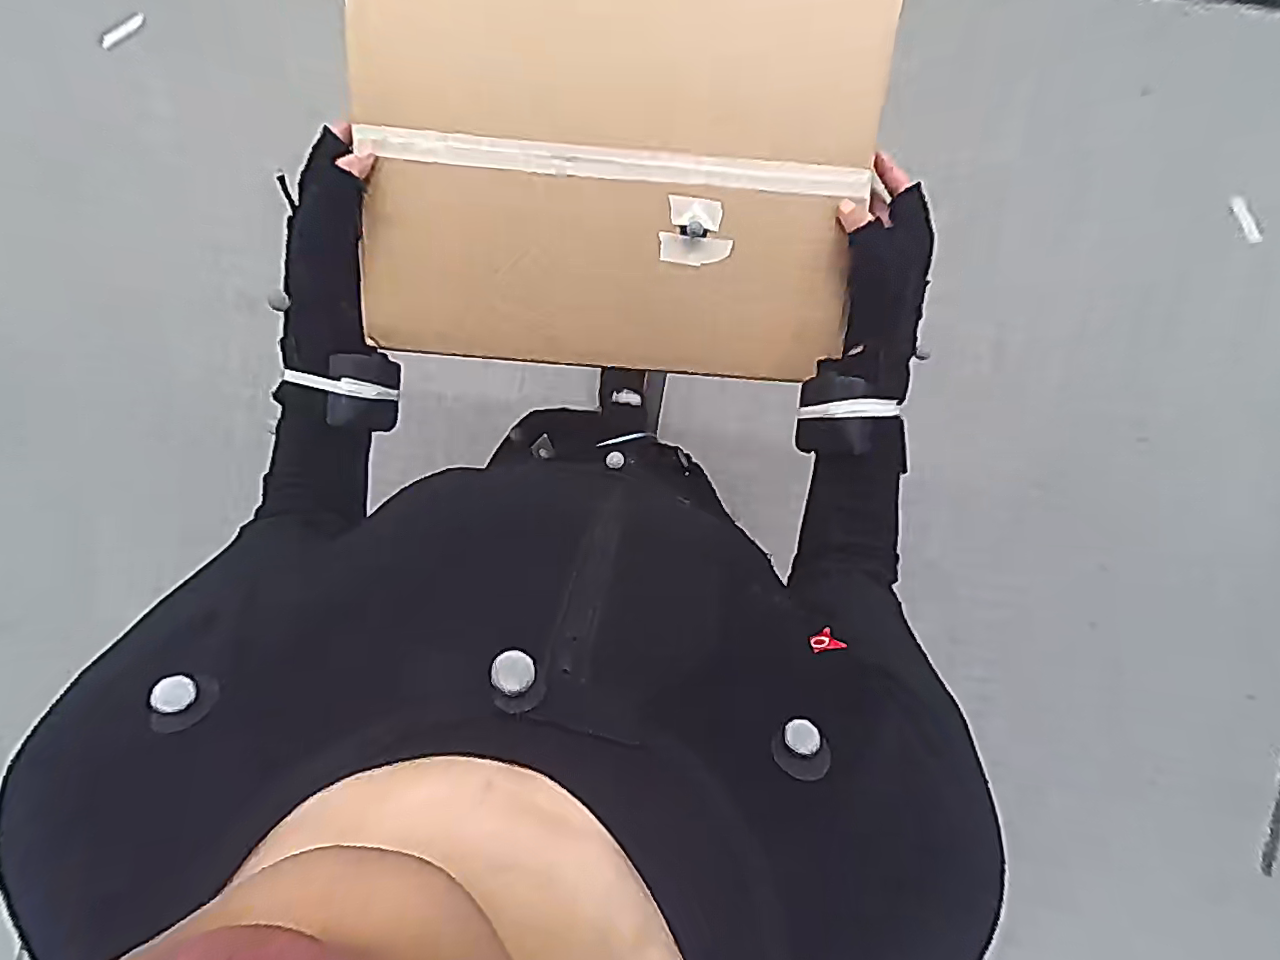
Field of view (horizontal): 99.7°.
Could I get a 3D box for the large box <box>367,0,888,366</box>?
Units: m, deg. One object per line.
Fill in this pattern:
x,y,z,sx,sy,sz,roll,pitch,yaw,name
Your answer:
-0.020,-0.298,0.581,0.408,0.320,0.320,4,106,-3,large box
